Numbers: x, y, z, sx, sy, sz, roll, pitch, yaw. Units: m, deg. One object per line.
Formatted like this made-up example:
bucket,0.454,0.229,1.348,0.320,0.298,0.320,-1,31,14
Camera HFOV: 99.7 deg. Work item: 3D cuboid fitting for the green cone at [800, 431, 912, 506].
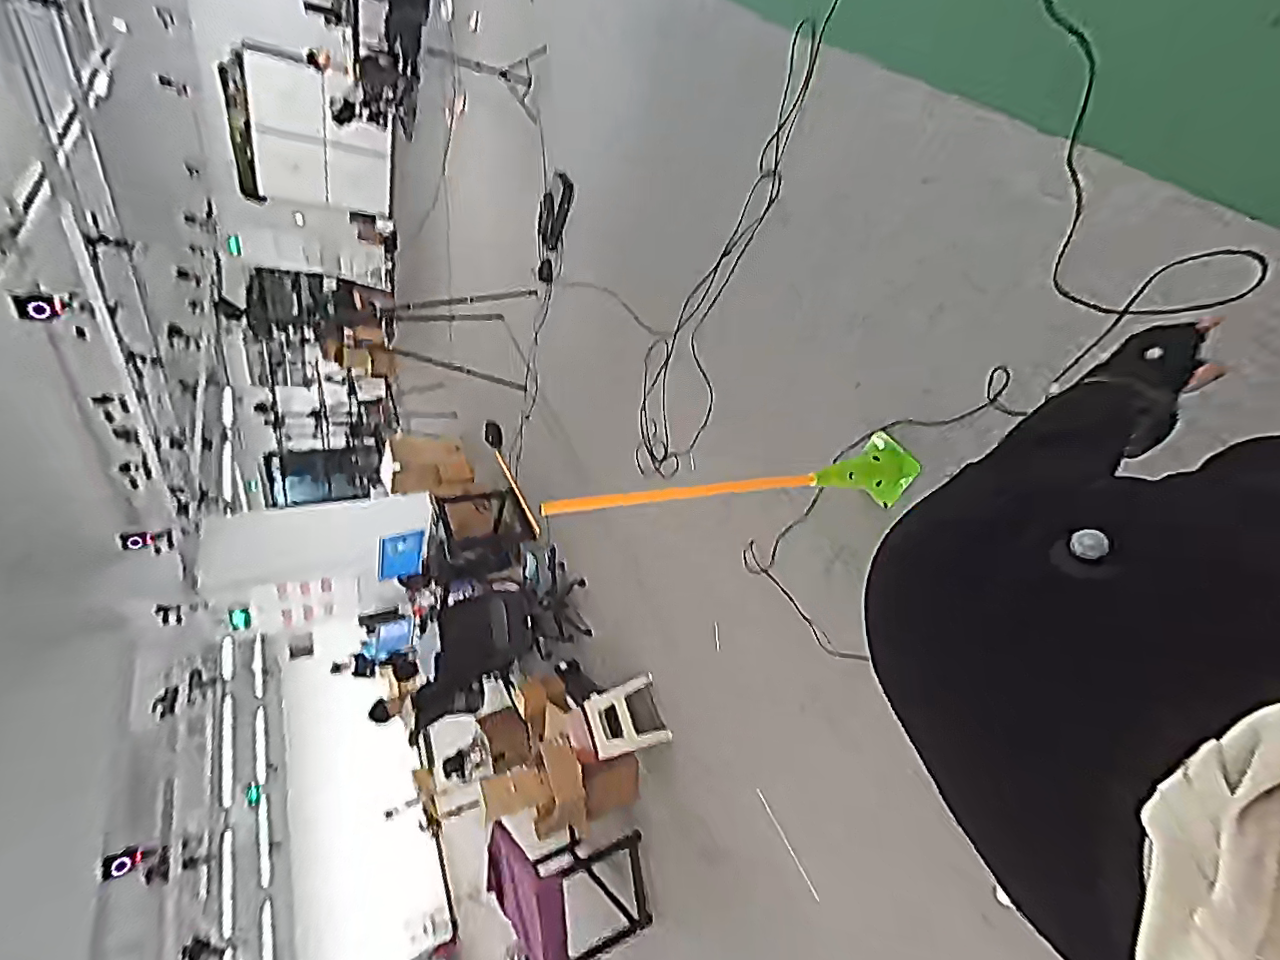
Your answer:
green cone,0.661,-0.026,1.751,0.202,0.368,0.200,58,140,38
